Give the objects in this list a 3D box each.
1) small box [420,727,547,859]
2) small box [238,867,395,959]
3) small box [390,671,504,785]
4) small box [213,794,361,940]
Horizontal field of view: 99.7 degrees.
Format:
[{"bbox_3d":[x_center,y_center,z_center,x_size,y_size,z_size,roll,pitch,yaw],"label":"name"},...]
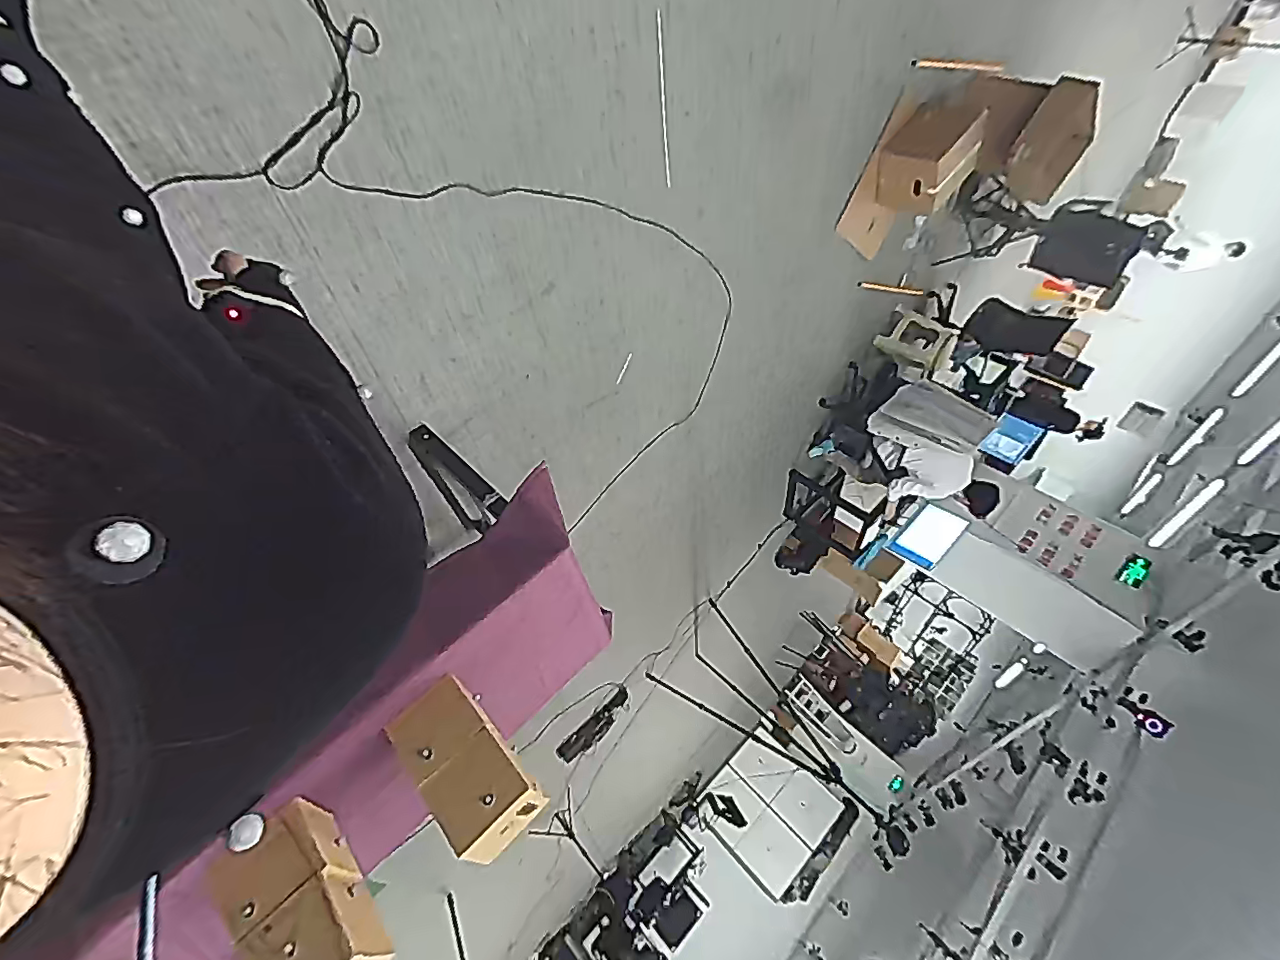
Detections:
[{"bbox_3d":[-0.336,0.672,1.170,0.179,0.176,0.168,-39,146,-20],"label":"small box"},{"bbox_3d":[-0.605,0.871,1.014,0.168,0.176,0.179,-37,145,-23],"label":"small box"},{"bbox_3d":[-0.449,0.583,1.250,0.179,0.176,0.168,-38,146,-24],"label":"small box"},{"bbox_3d":[-0.715,0.784,1.100,0.179,0.176,0.168,-35,145,-26],"label":"small box"}]
